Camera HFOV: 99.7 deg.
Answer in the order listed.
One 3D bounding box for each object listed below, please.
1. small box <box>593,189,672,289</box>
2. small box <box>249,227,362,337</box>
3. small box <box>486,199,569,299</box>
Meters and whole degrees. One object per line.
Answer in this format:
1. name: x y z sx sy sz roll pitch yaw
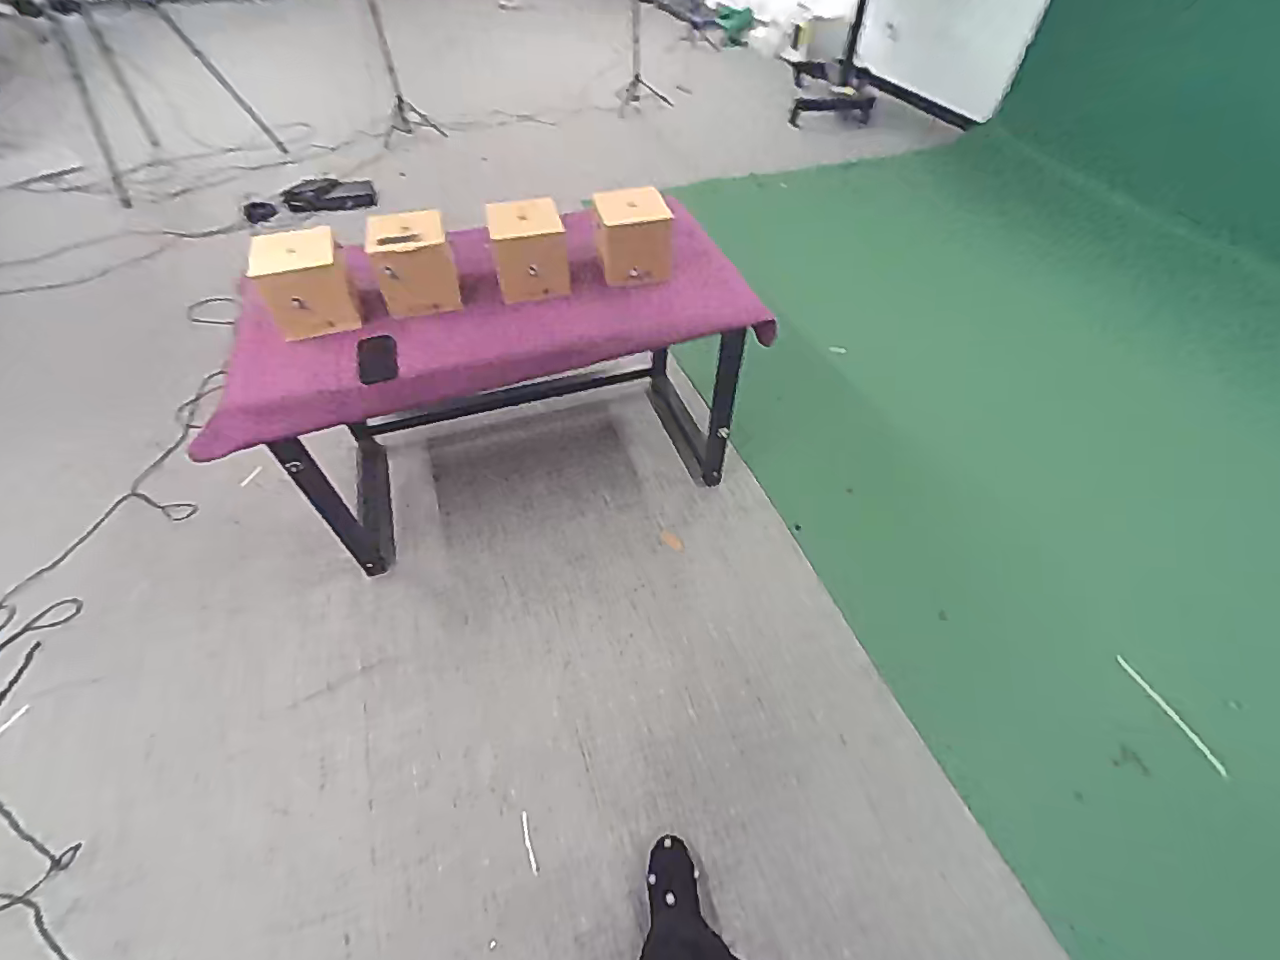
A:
1. small box: -0.021 -0.612 1.373 0.168 0.176 0.179 -11 52 -8
2. small box: -0.749 -0.443 1.229 0.168 0.176 0.179 -17 52 -13
3. small box: -0.272 -0.559 1.326 0.168 0.176 0.179 -11 52 -10
